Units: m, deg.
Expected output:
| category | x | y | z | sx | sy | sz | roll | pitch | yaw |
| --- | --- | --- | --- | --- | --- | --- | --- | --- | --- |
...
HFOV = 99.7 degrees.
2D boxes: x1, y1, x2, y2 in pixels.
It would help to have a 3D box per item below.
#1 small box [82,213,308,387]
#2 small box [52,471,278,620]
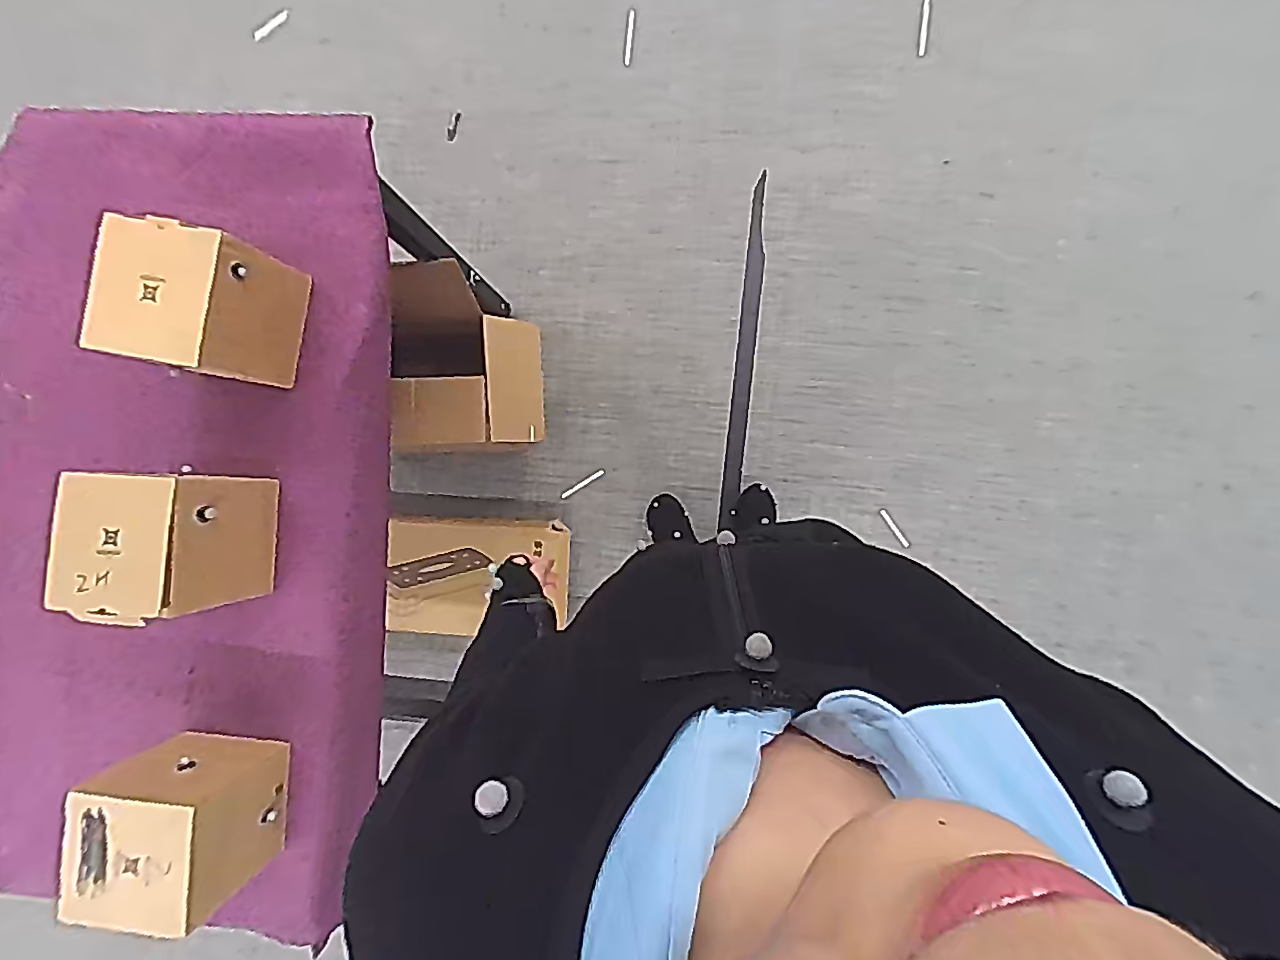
| category | x | y | z | sx | sy | sz | roll | pitch | yaw |
| --- | --- | --- | --- | --- | --- | --- | --- | --- | --- |
| small box | -0.597 | -0.235 | 0.748 | 0.168 | 0.176 | 0.179 | 10 | 90 | 5 |
| small box | -0.638 | 0.081 | 0.747 | 0.168 | 0.176 | 0.179 | 3 | 90 | 7 |
